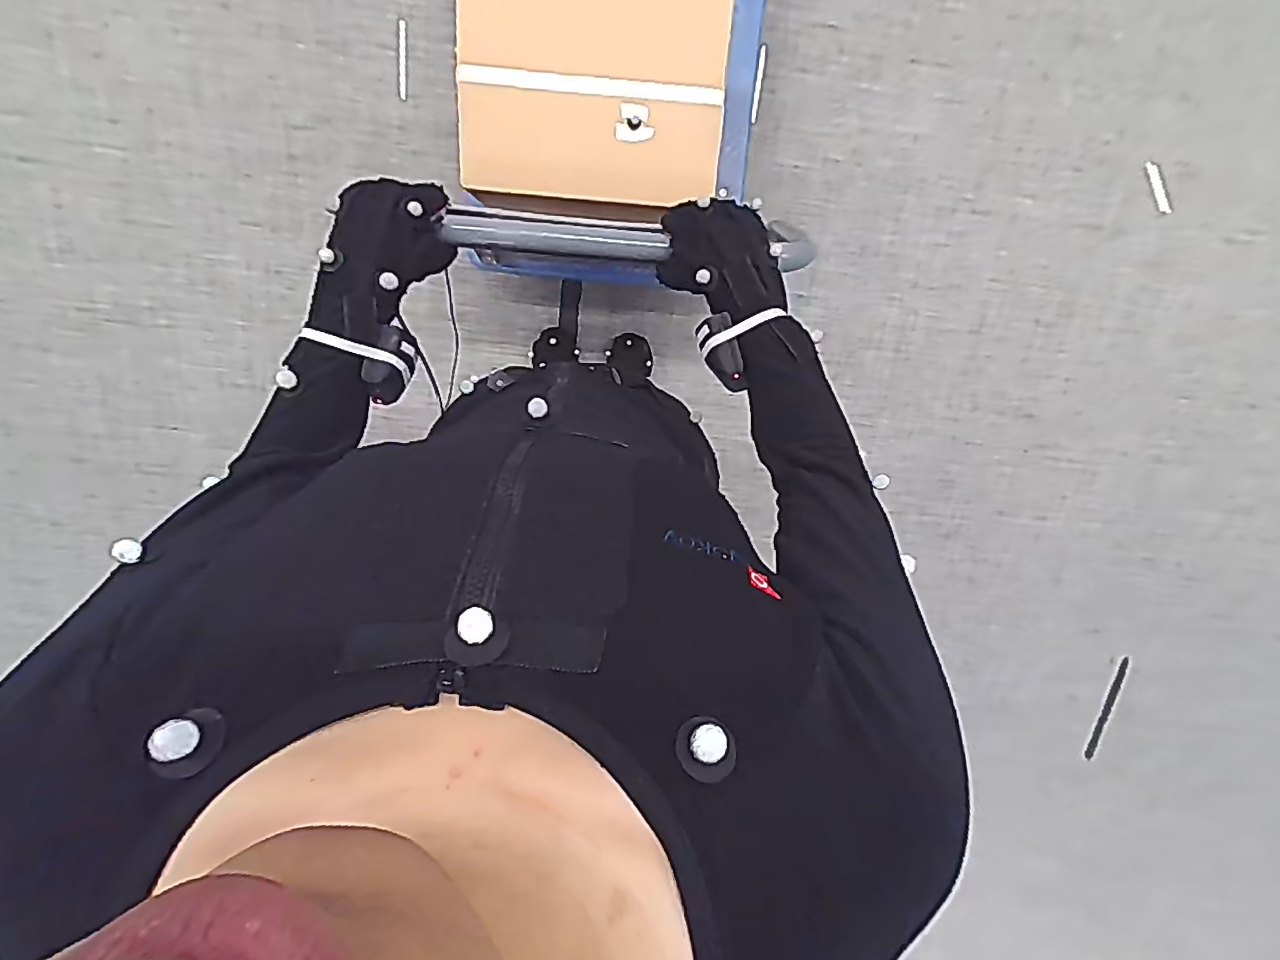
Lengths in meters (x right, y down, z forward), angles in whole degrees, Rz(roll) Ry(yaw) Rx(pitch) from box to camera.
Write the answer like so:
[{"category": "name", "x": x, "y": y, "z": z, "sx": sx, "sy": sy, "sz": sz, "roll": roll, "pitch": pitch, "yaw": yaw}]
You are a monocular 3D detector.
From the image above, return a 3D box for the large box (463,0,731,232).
[{"category": "large box", "x": -0.077, "y": -0.650, "z": 0.976, "sx": 0.408, "sy": 0.320, "sz": 0.320, "roll": 3, "pitch": 107, "yaw": -4}]
